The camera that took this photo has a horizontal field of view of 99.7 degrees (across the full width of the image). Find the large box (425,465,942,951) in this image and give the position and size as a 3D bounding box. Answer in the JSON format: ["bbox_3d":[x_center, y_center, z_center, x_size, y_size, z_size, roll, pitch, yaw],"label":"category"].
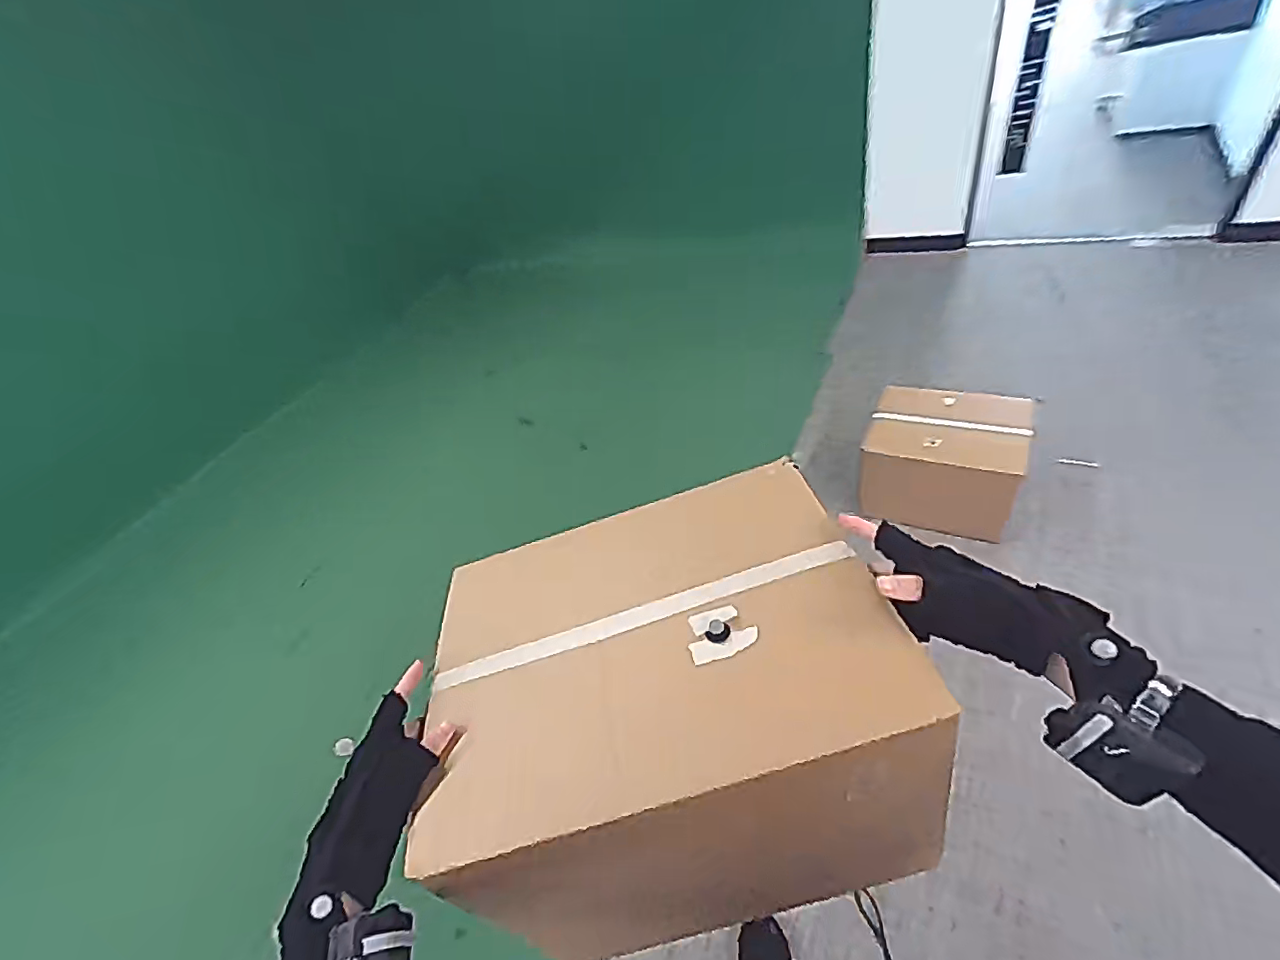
[{"bbox_3d":[0.045,0.242,0.597,0.408,0.320,0.320,-17,37,3],"label":"large box"}]
